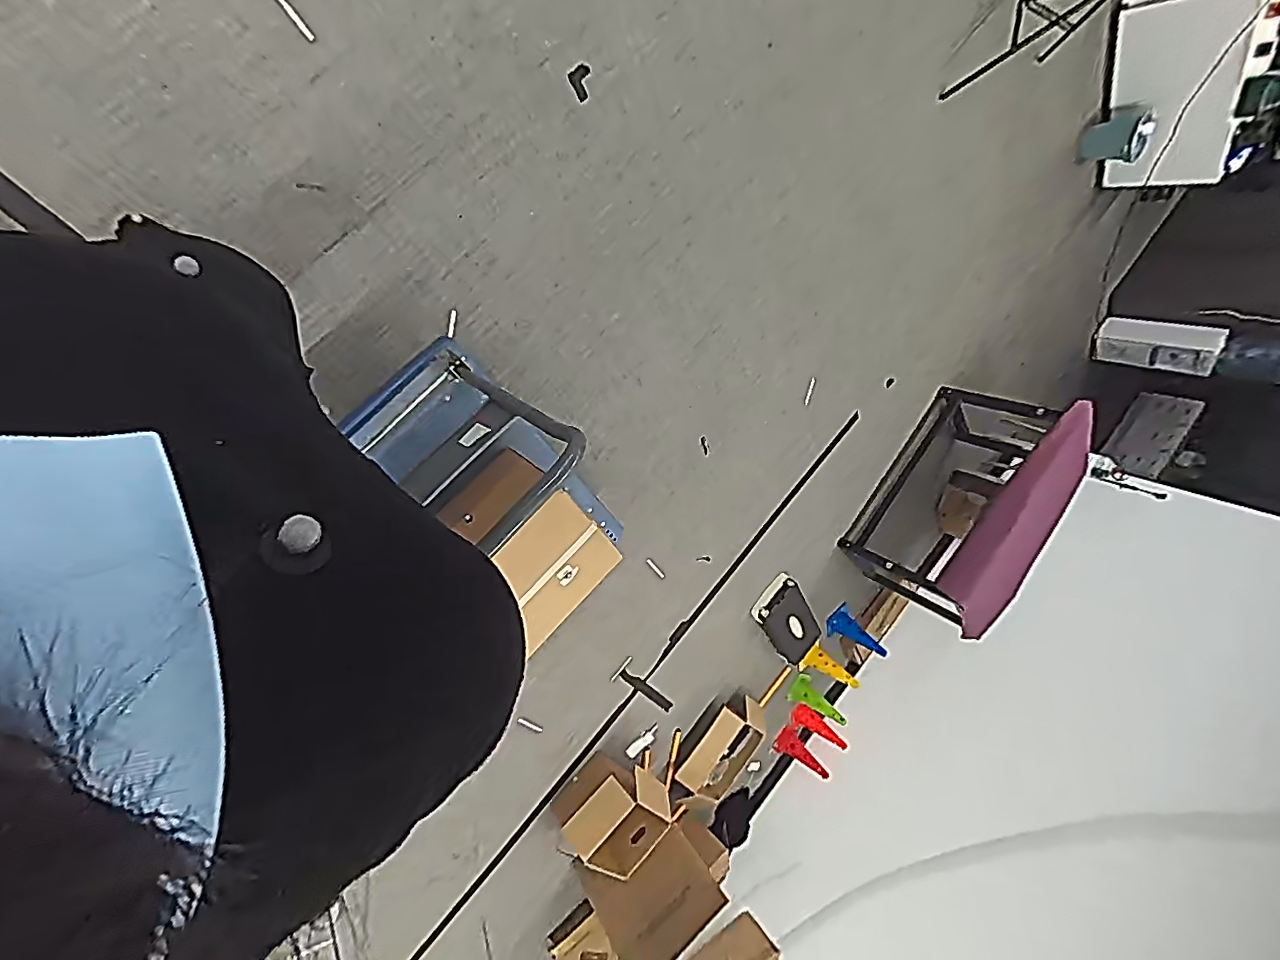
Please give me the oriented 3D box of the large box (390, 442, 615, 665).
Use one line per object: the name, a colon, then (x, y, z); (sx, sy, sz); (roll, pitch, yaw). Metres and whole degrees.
large box: (-0.350, 0.177, 1.388); (0.408, 0.320, 0.320); (-47, 133, -13)
